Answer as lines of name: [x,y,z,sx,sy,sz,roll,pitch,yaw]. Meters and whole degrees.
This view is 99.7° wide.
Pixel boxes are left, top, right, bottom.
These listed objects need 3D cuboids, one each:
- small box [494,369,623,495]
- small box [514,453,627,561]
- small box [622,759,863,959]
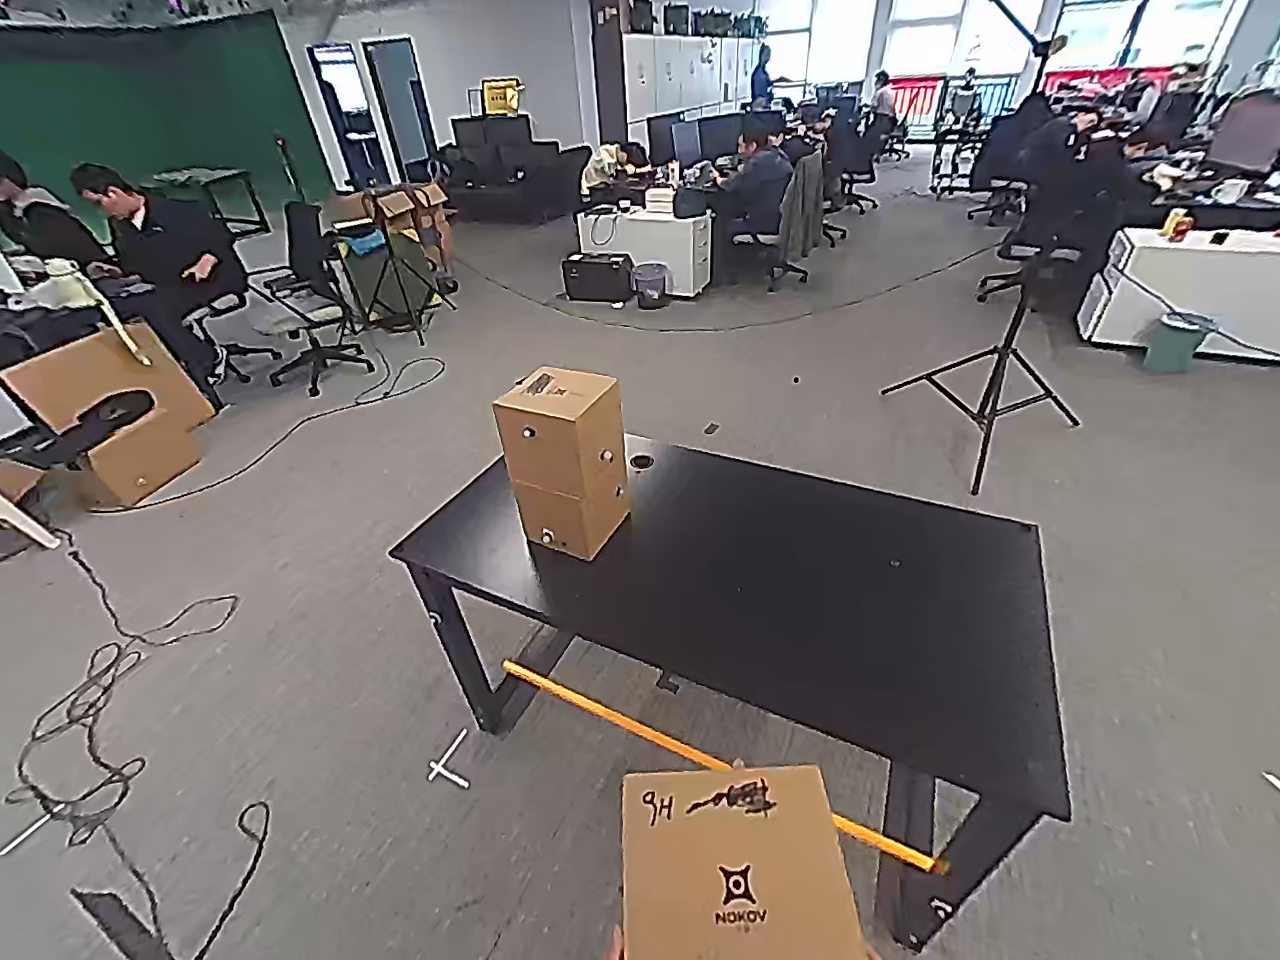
small box: [-0.146,-0.093,1.034,0.179,0.176,0.168,14,40,22]
small box: [-0.136,0.038,1.133,0.168,0.176,0.179,14,41,23]
small box: [0.073,0.355,0.451,0.168,0.176,0.179,-3,45,0]
